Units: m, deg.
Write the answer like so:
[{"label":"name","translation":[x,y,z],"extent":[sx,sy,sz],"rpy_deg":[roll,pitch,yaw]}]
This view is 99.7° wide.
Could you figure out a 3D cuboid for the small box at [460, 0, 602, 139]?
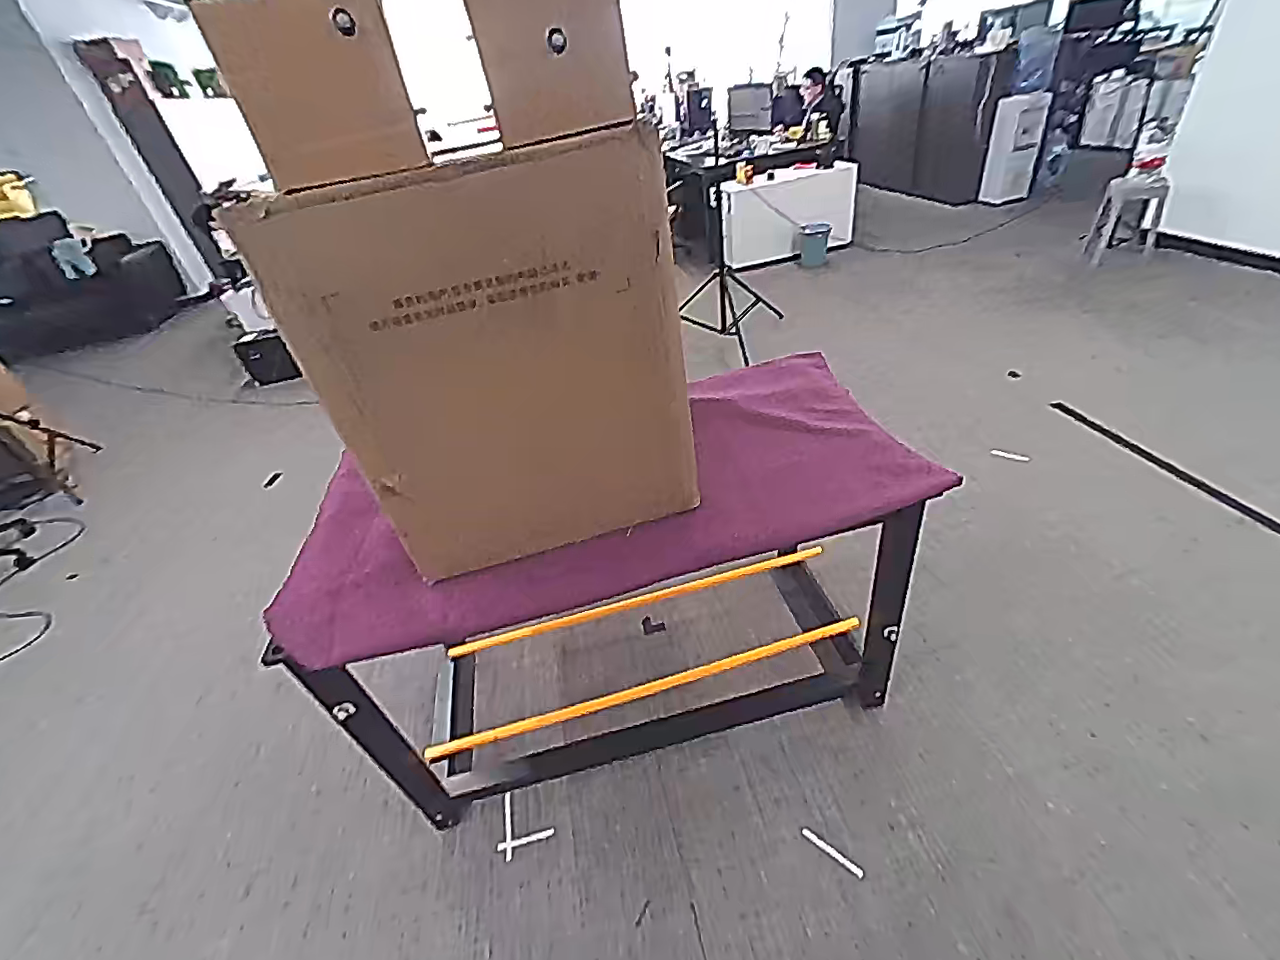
[{"label":"small box","translation":[-0.163,-0.637,0.831],"extent":[0.168,0.176,0.179],"rpy_deg":[-15,37,-4]}]
